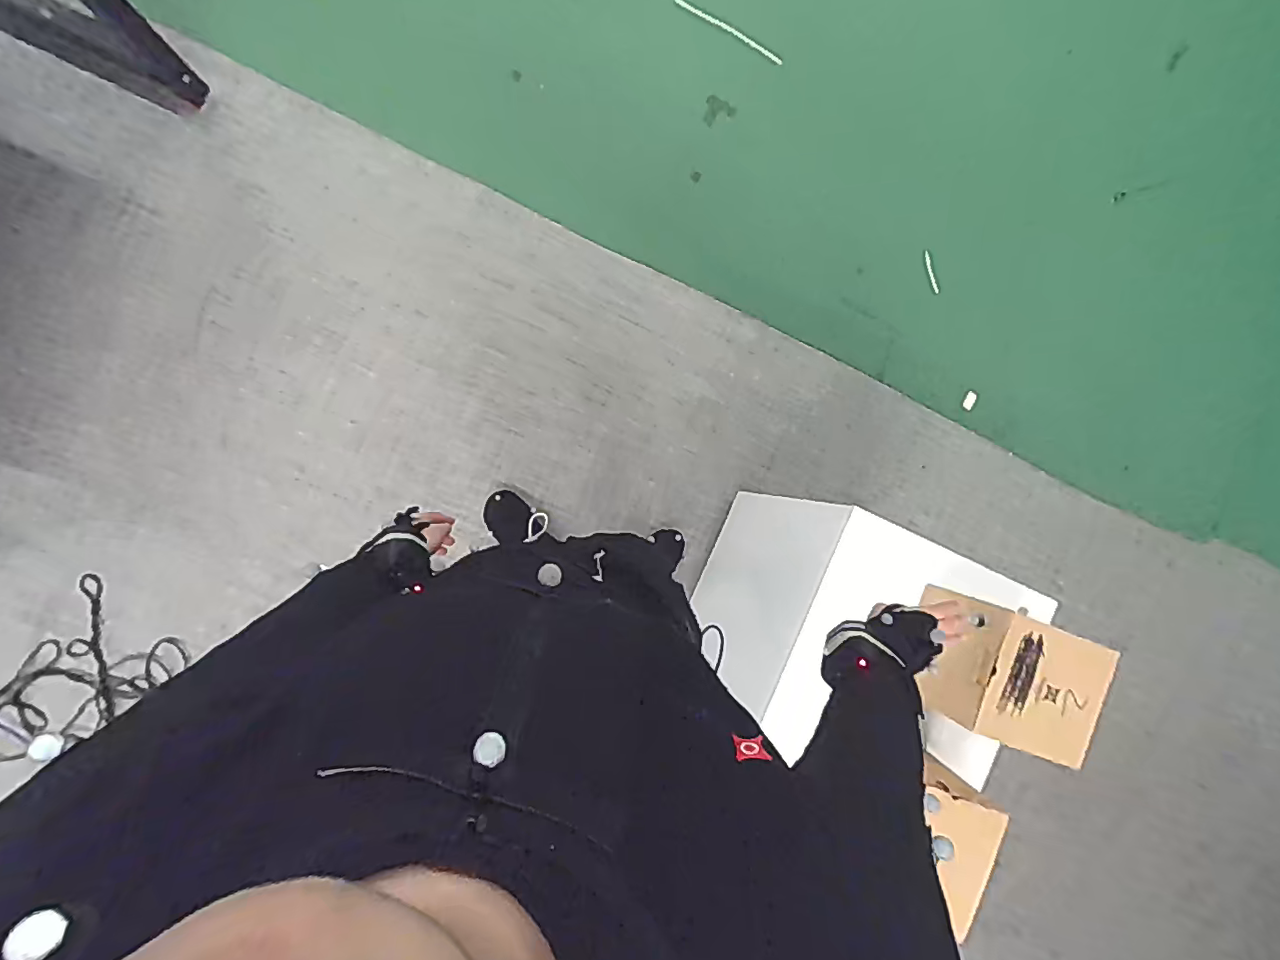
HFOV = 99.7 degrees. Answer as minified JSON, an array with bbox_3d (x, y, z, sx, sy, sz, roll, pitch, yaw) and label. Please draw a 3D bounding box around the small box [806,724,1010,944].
[{"bbox_3d":[0.360,0.478,0.759,0.168,0.176,0.179,23,88,-7],"label":"small box"}]
